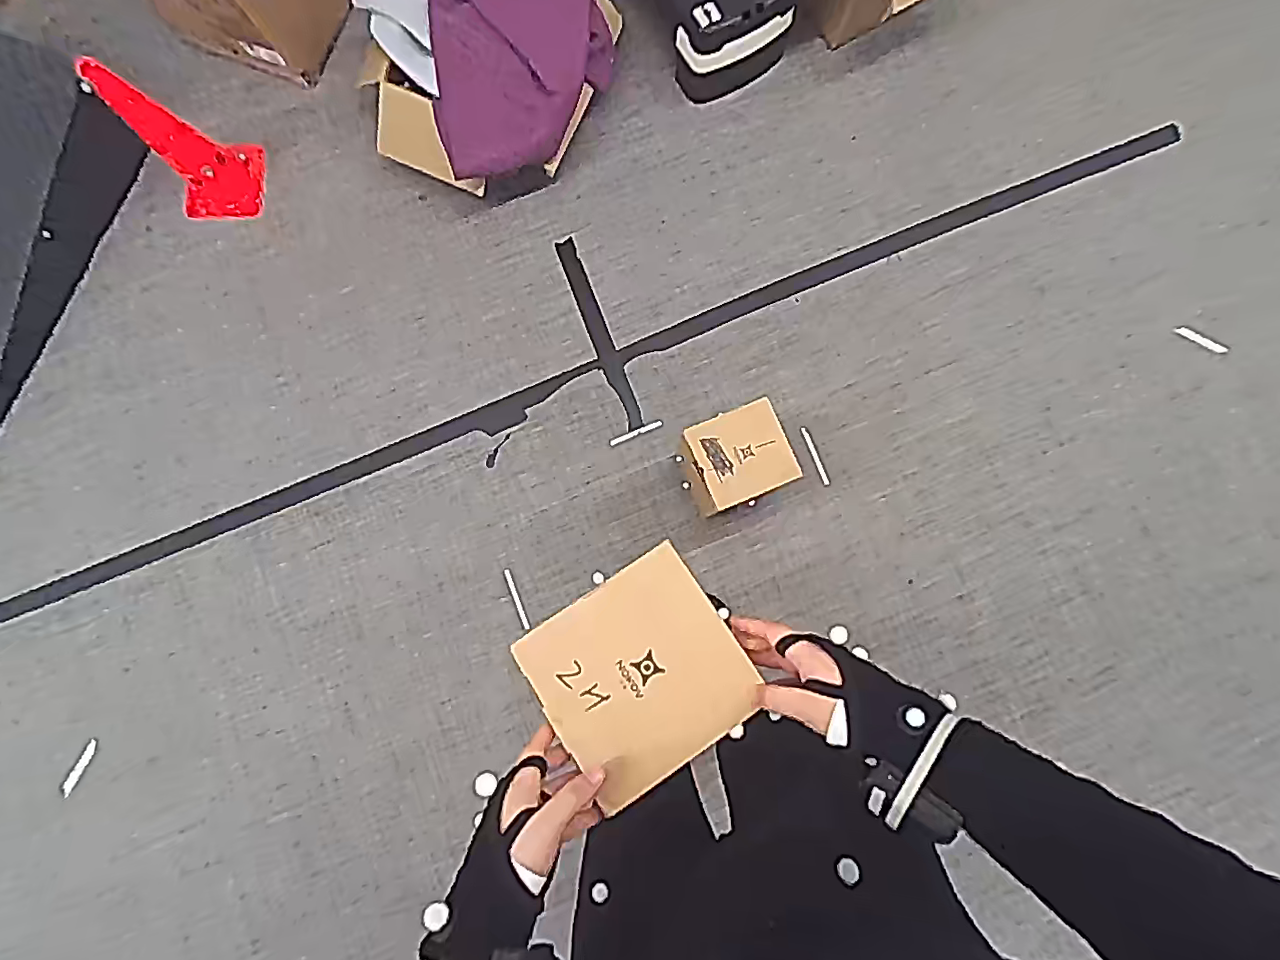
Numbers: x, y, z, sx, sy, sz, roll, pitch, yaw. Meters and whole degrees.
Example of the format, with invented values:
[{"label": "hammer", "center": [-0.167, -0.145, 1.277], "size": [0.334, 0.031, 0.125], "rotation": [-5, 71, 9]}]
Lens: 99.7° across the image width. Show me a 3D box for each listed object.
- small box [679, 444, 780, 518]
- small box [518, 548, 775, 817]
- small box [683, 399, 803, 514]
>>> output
[{"label": "small box", "center": [0.197, -0.021, 1.238], "size": [0.168, 0.176, 0.179], "rotation": [-21, 85, -2]}, {"label": "small box", "center": [0.007, 0.190, 0.553], "size": [0.179, 0.176, 0.168], "rotation": [-33, 77, -5]}, {"label": "small box", "center": [0.191, -0.037, 1.073], "size": [0.179, 0.176, 0.168], "rotation": [-22, 84, -3]}]
